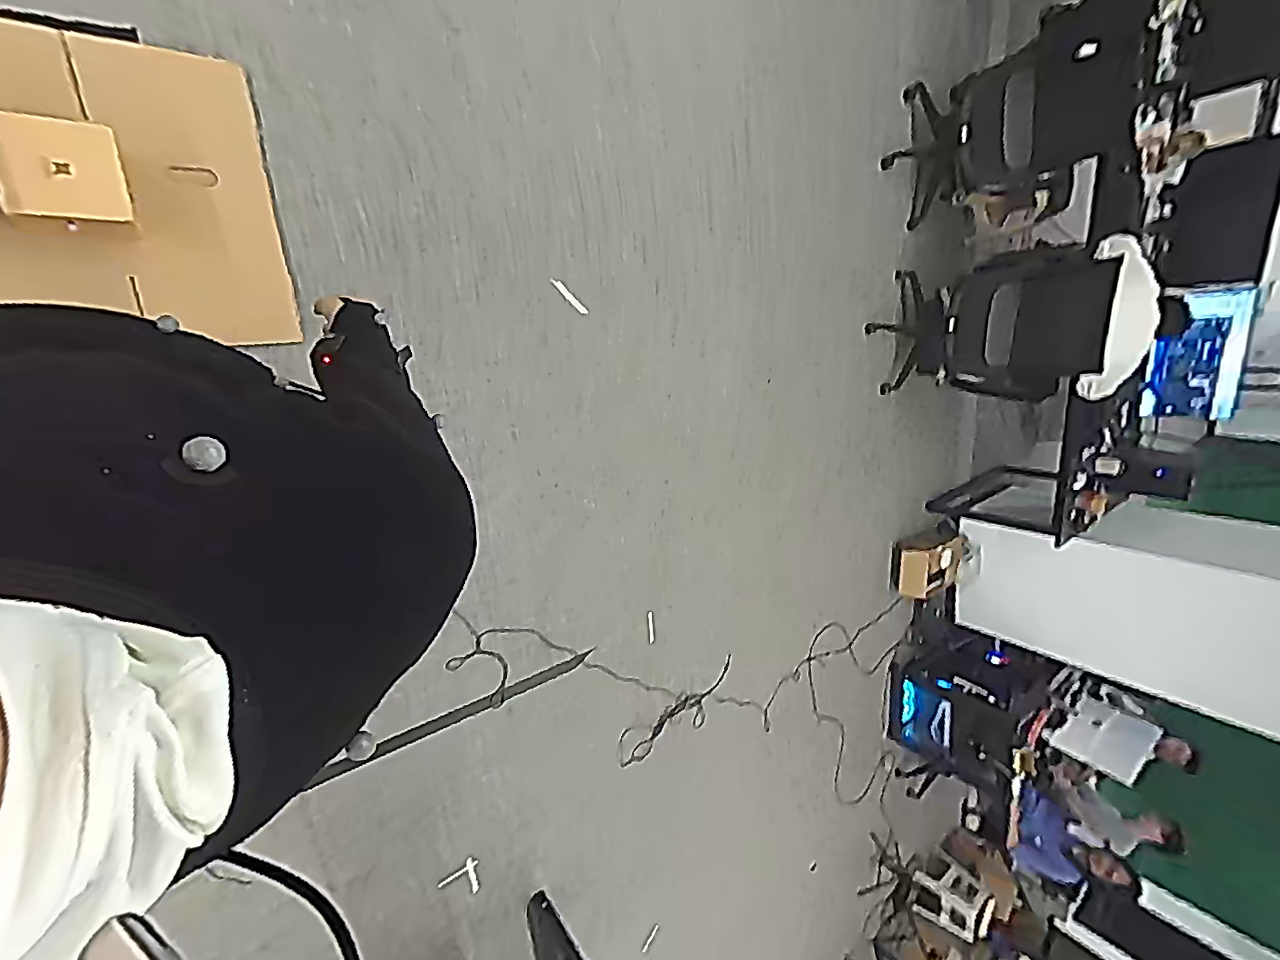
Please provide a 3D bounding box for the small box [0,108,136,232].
[{"bbox_3d":[-1.099,-0.579,1.031,0.179,0.176,0.168,-13,107,-34],"label":"small box"}]
